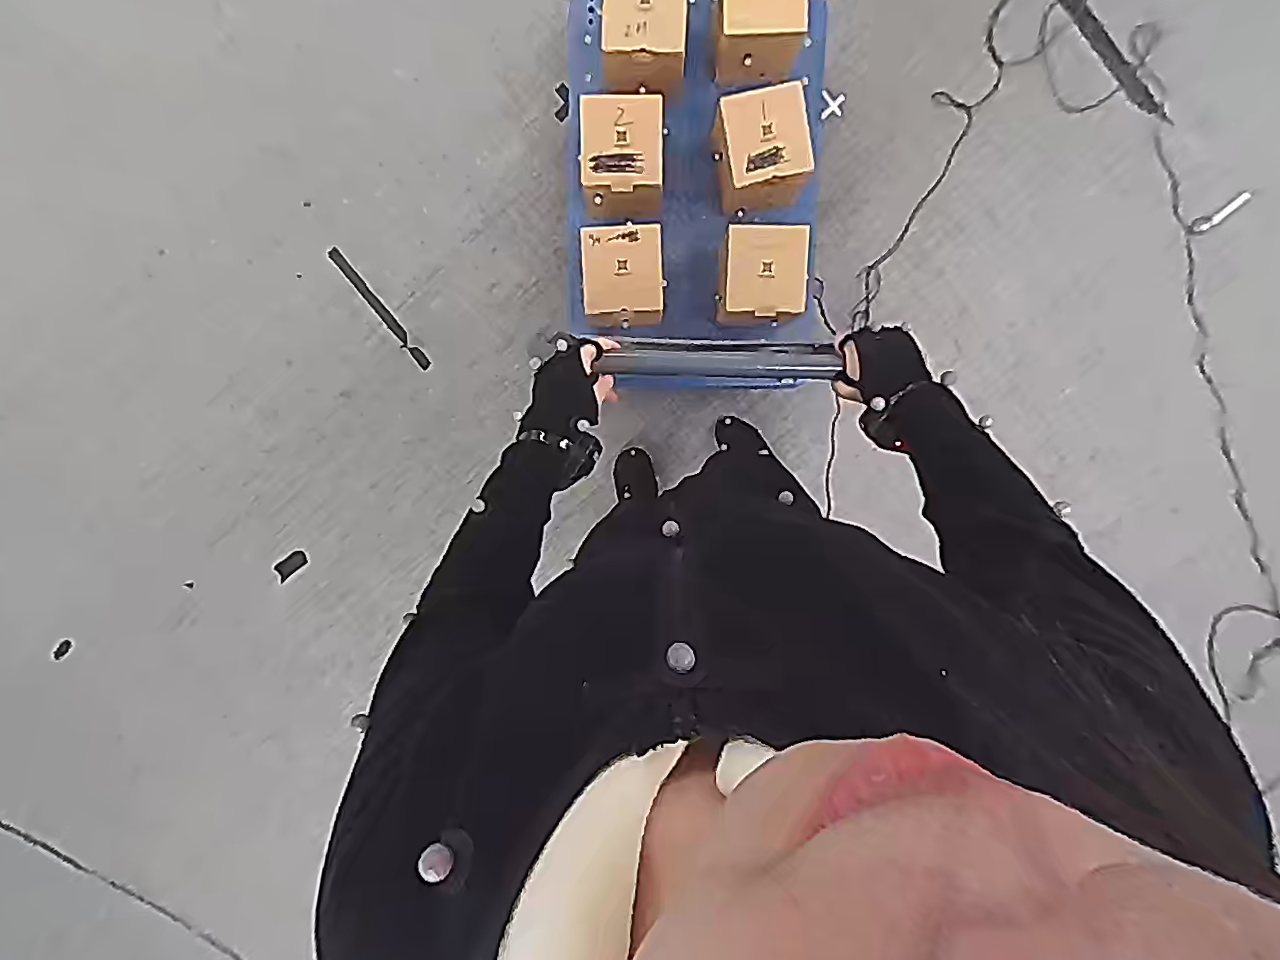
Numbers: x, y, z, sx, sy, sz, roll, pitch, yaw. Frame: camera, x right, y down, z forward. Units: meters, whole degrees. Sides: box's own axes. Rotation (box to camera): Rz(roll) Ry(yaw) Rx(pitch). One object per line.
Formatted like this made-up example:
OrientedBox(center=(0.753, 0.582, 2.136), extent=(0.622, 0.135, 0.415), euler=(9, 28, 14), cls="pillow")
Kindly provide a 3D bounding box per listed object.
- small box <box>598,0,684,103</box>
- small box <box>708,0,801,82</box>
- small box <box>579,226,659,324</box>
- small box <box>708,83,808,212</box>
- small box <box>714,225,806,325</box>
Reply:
OrientedBox(center=(0.002, -0.937, 1.136), extent=(0.168, 0.176, 0.179), euler=(3, 98, 0), cls="small box")
OrientedBox(center=(0.235, -0.970, 1.133), extent=(0.168, 0.176, 0.179), euler=(-2, 96, 1), cls="small box")
OrientedBox(center=(-0.042, -0.443, 1.195), extent=(0.168, 0.176, 0.179), euler=(-2, 97, 0), cls="small box")
OrientedBox(center=(0.247, -0.700, 1.163), extent=(0.168, 0.176, 0.179), euler=(-11, 95, 2), cls="small box")
OrientedBox(center=(0.257, -0.443, 1.194), extent=(0.168, 0.176, 0.179), euler=(2, 96, 0), cls="small box")
